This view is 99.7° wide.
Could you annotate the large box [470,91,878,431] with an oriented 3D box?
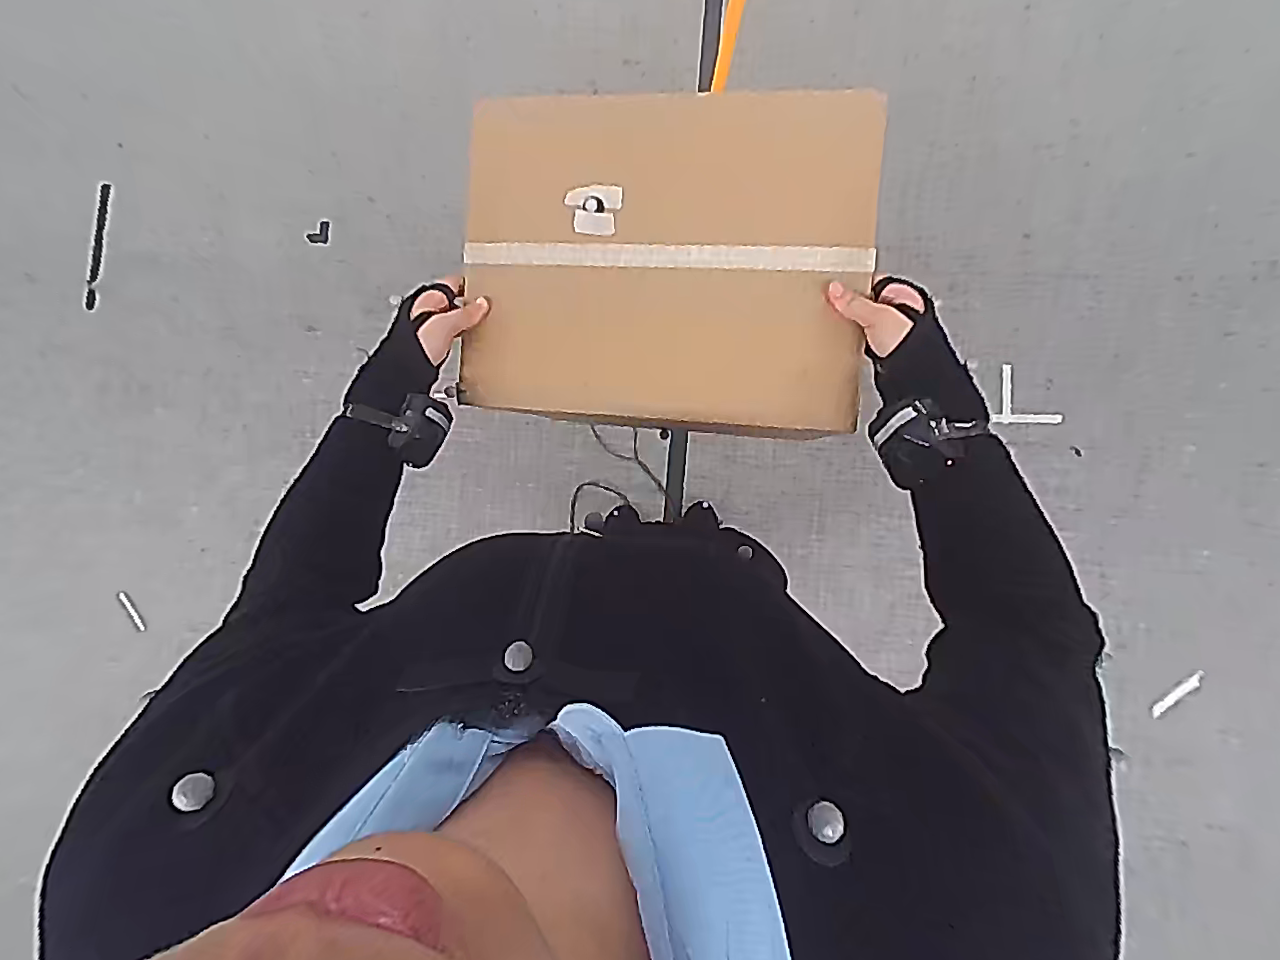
[{"bbox_3d":[0.048,-0.228,0.689,0.408,0.320,0.320,5,92,10],"label":"large box"}]
